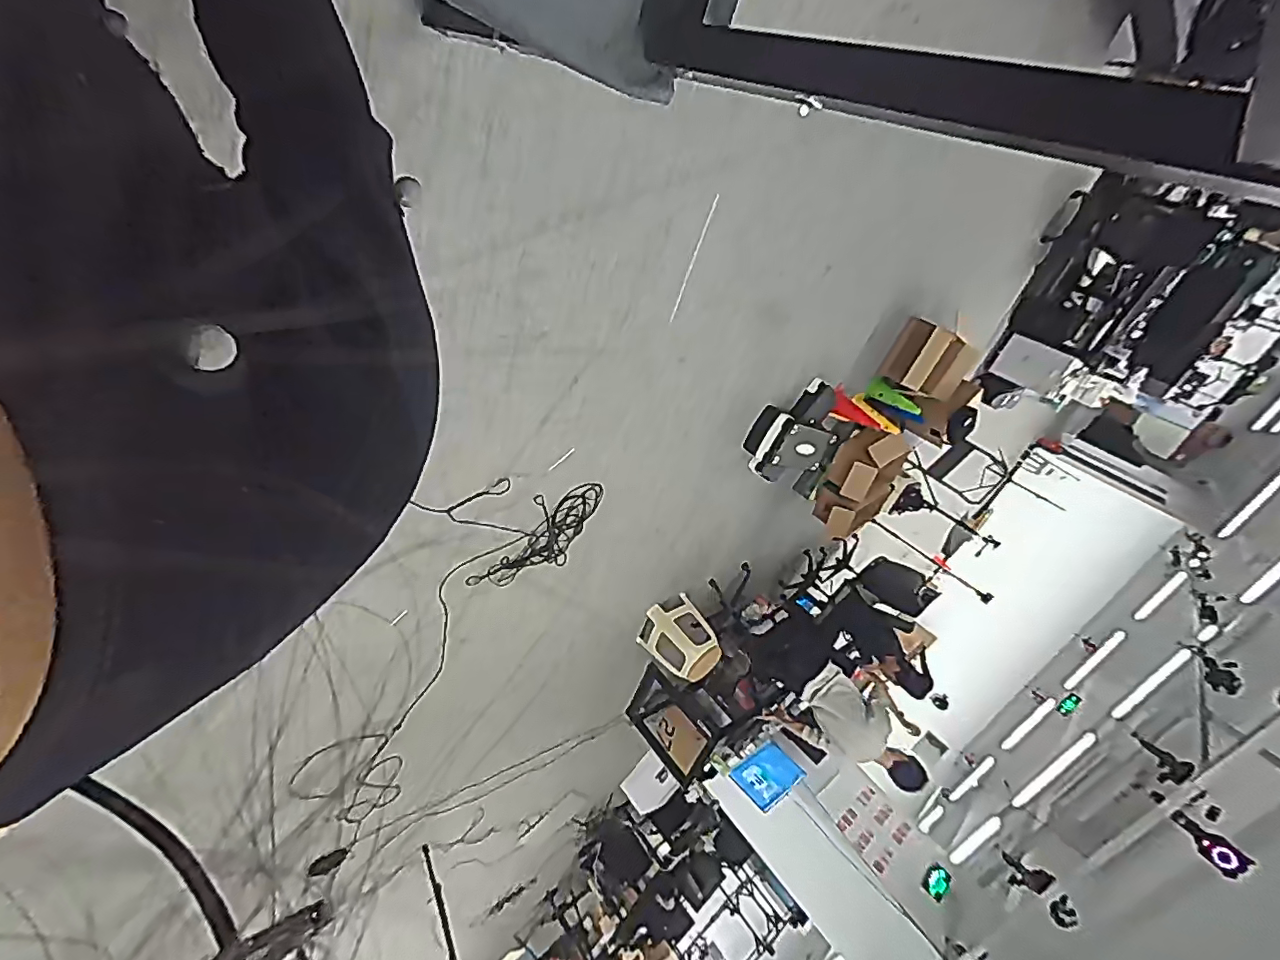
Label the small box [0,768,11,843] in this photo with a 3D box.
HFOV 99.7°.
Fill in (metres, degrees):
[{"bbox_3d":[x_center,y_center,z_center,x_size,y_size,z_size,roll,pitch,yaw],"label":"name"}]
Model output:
[{"bbox_3d":[-1.722,0.830,1.348,0.168,0.176,0.179,-14,133,-40],"label":"small box"}]
